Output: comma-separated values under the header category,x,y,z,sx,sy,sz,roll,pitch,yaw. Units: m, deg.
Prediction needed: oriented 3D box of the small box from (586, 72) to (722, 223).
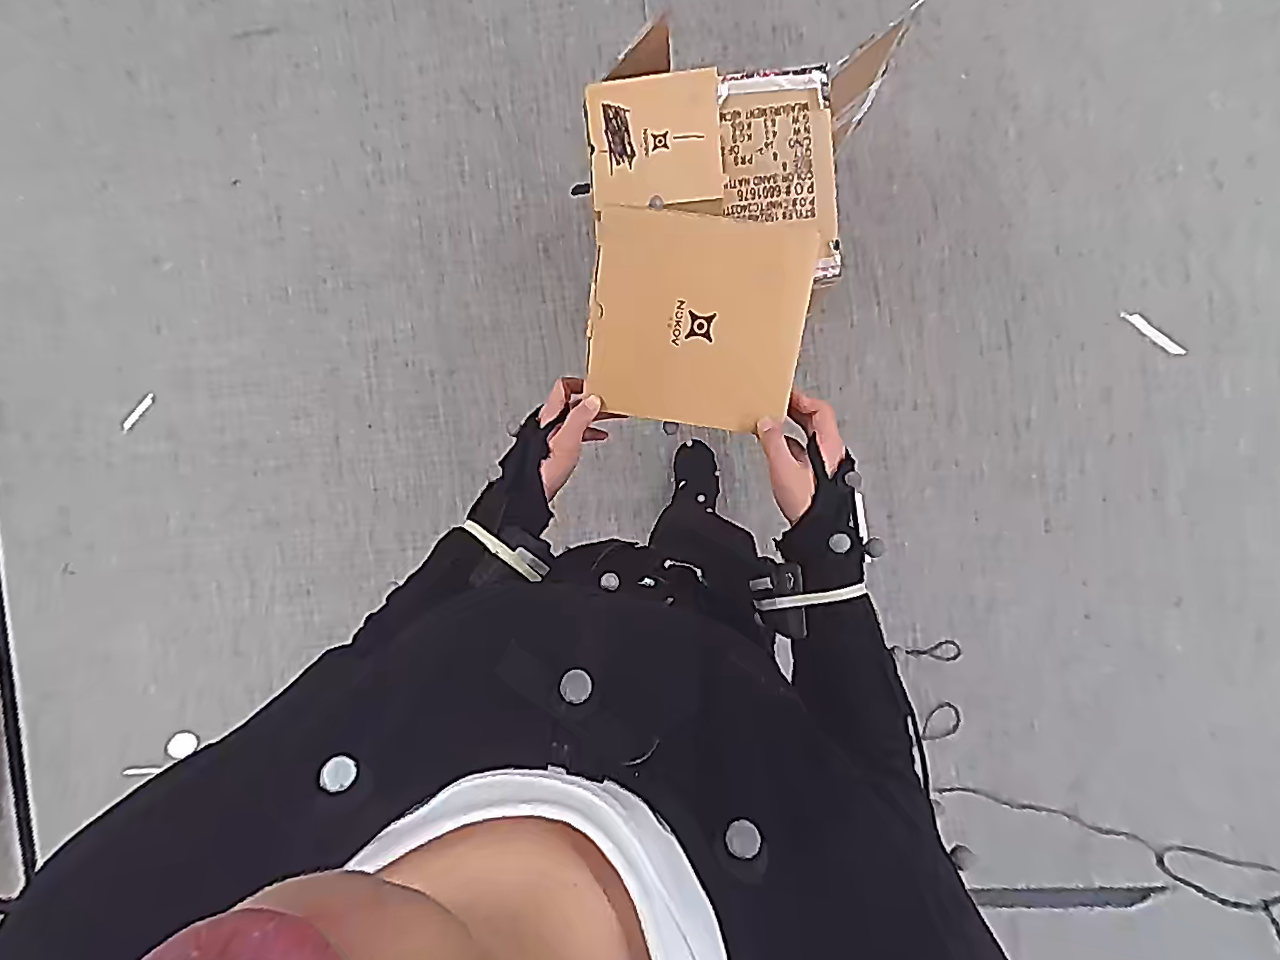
category,x,y,z,sx,sy,sz,roll,pitch,yaw
small box,0.027,-0.446,0.790,0.179,0.176,0.168,-3,94,5

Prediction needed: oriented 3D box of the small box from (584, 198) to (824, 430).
category,x,y,z,sx,sy,sz,roll,pitch,yaw
small box,0.055,-0.153,0.520,0.179,0.176,0.168,9,105,5
